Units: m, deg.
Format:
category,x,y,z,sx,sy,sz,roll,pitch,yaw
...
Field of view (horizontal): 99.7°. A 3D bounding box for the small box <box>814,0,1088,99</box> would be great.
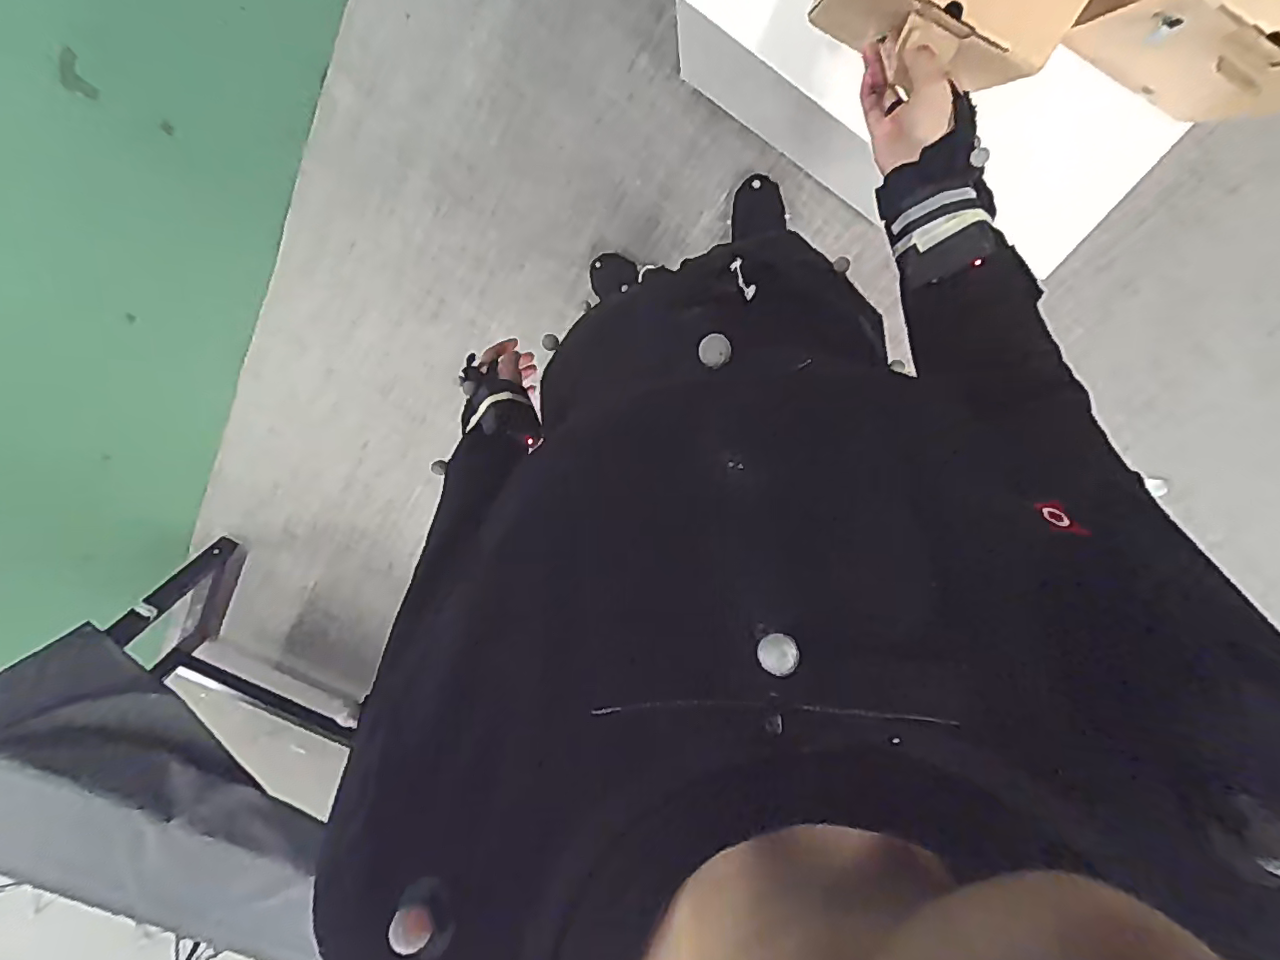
category,x,y,z,sx,sy,sz,roll,pitch,yaw
small box,0.261,-0.438,0.424,0.168,0.176,0.179,23,119,-9
